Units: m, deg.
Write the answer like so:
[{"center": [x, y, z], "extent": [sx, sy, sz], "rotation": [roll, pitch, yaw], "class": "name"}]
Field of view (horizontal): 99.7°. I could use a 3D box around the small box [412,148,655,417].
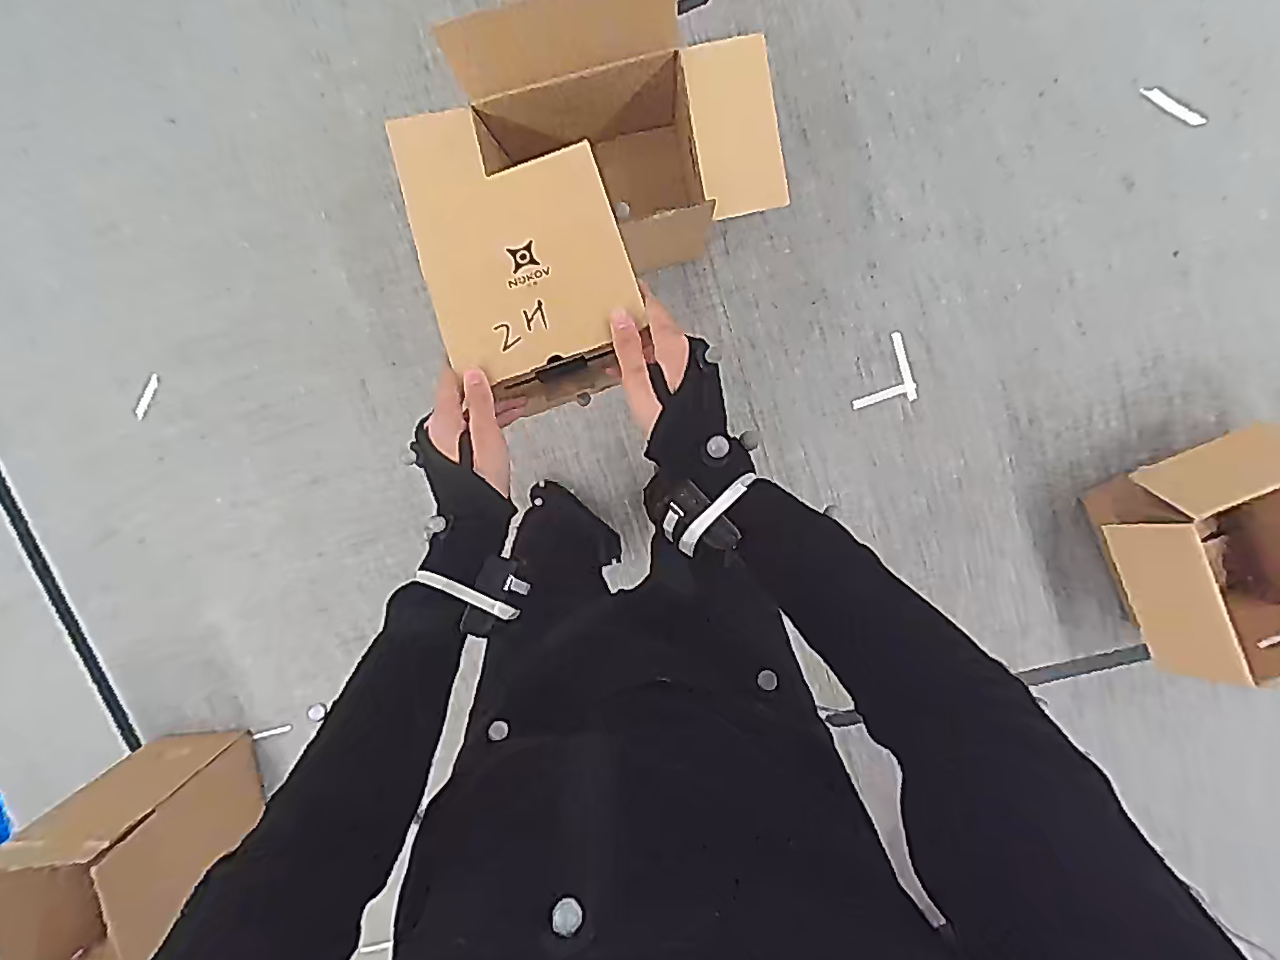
[{"center": [-0.088, -0.173, 0.532], "extent": [0.168, 0.176, 0.179], "rotation": [-18, 91, 3], "class": "small box"}]
